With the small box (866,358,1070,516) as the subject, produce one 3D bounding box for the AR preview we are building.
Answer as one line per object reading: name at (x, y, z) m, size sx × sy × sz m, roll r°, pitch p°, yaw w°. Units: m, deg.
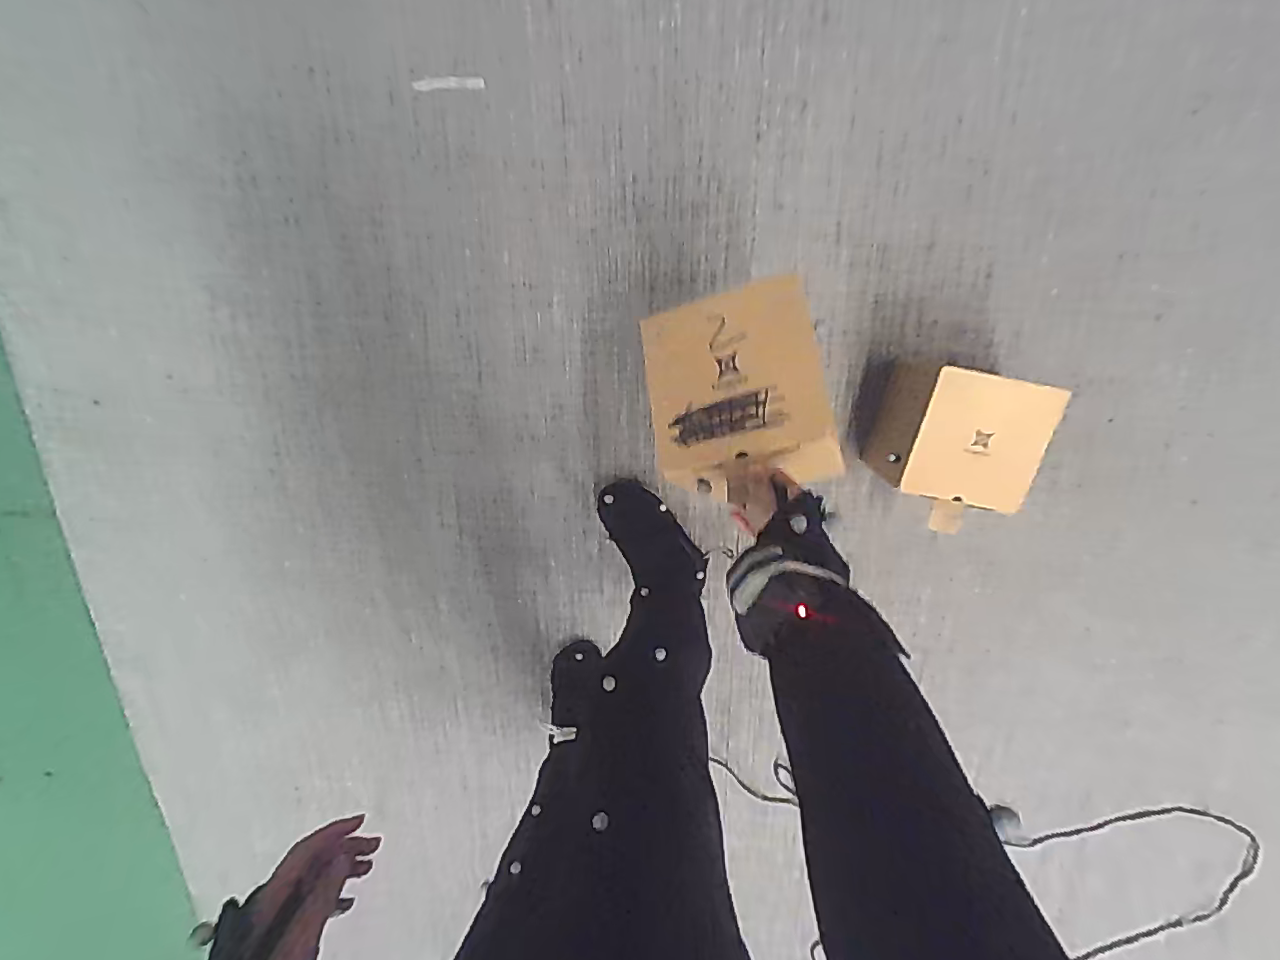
small box at (0.448, -0.072, 0.774) m, size 0.168 × 0.176 × 0.179 m, roll 12°, pitch 108°, yaw 1°
